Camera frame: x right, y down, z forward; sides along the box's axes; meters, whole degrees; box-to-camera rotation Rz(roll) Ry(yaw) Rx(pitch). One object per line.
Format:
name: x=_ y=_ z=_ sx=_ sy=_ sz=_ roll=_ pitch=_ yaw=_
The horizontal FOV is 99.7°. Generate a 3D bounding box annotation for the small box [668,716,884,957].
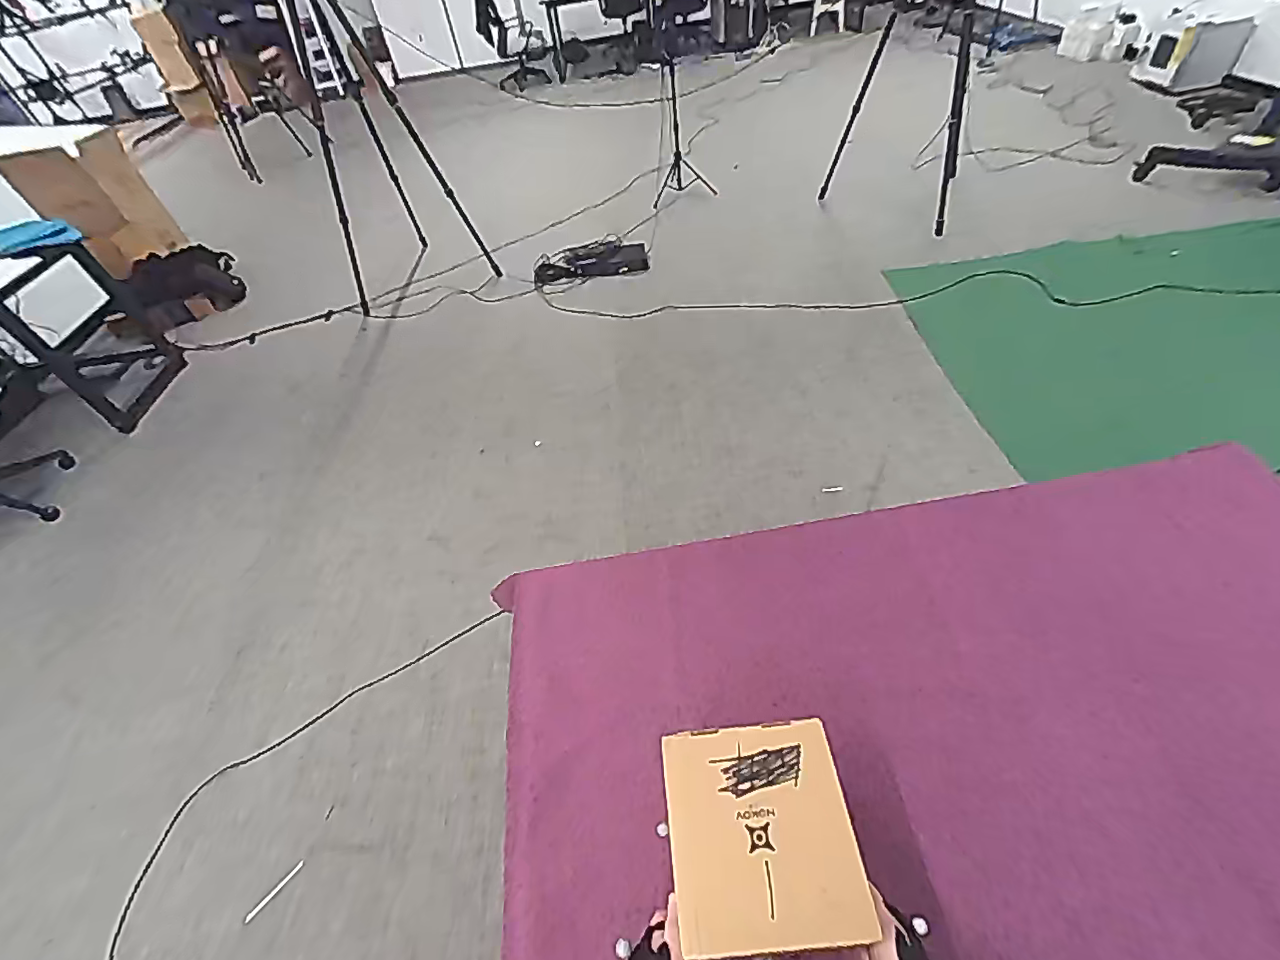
small box: x=0.121 y=0.366 z=0.554 sx=0.168 sy=0.176 sz=0.179 roll=-8 pitch=48 yaw=3
